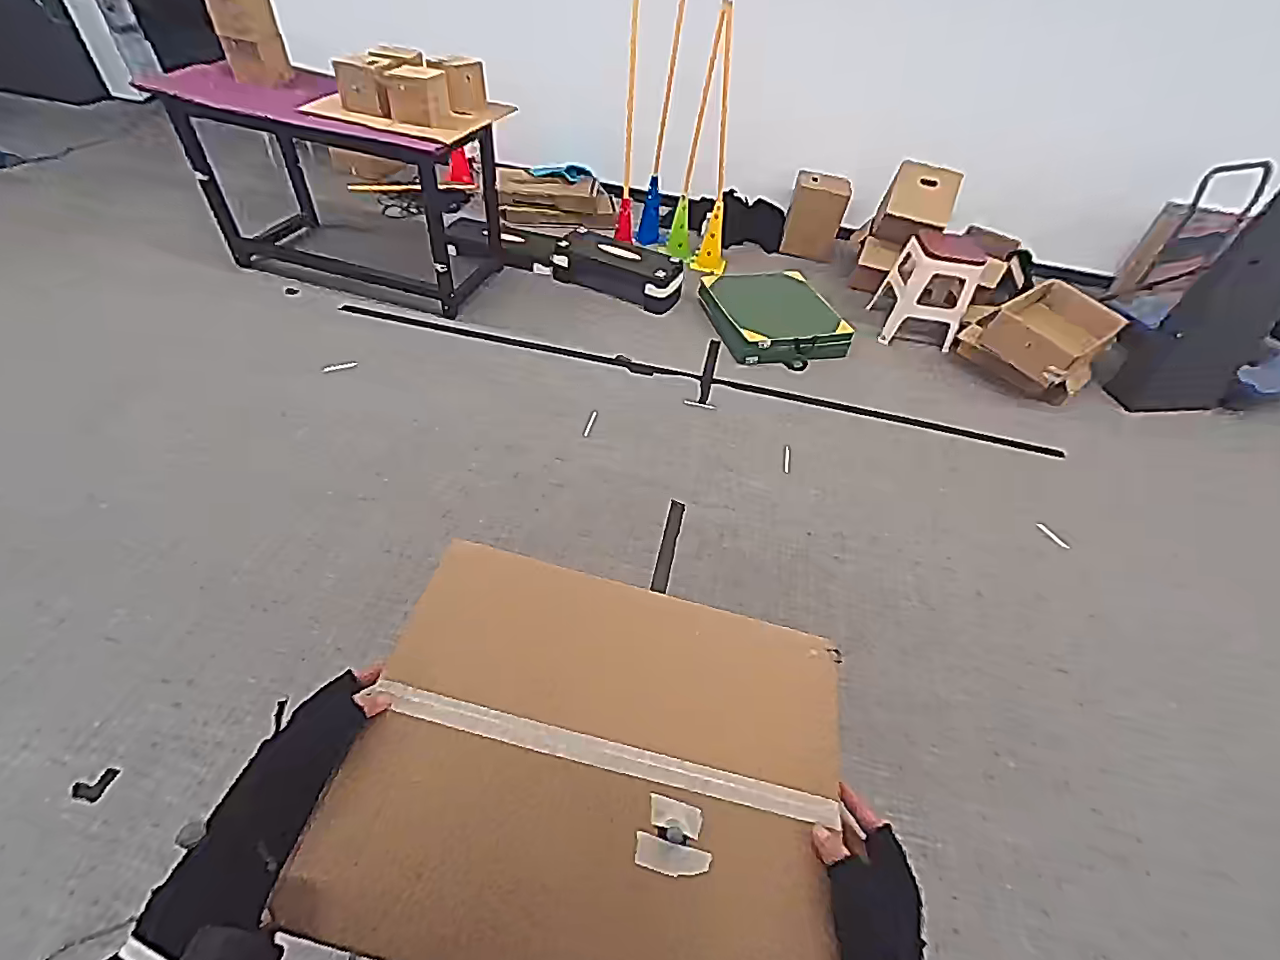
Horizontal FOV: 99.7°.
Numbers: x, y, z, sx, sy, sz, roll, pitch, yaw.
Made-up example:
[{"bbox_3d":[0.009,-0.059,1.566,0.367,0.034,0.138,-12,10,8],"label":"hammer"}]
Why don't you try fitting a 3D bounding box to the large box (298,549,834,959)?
[{"bbox_3d":[-0.048,0.323,0.589,0.408,0.320,0.320,15,53,0],"label":"large box"}]
